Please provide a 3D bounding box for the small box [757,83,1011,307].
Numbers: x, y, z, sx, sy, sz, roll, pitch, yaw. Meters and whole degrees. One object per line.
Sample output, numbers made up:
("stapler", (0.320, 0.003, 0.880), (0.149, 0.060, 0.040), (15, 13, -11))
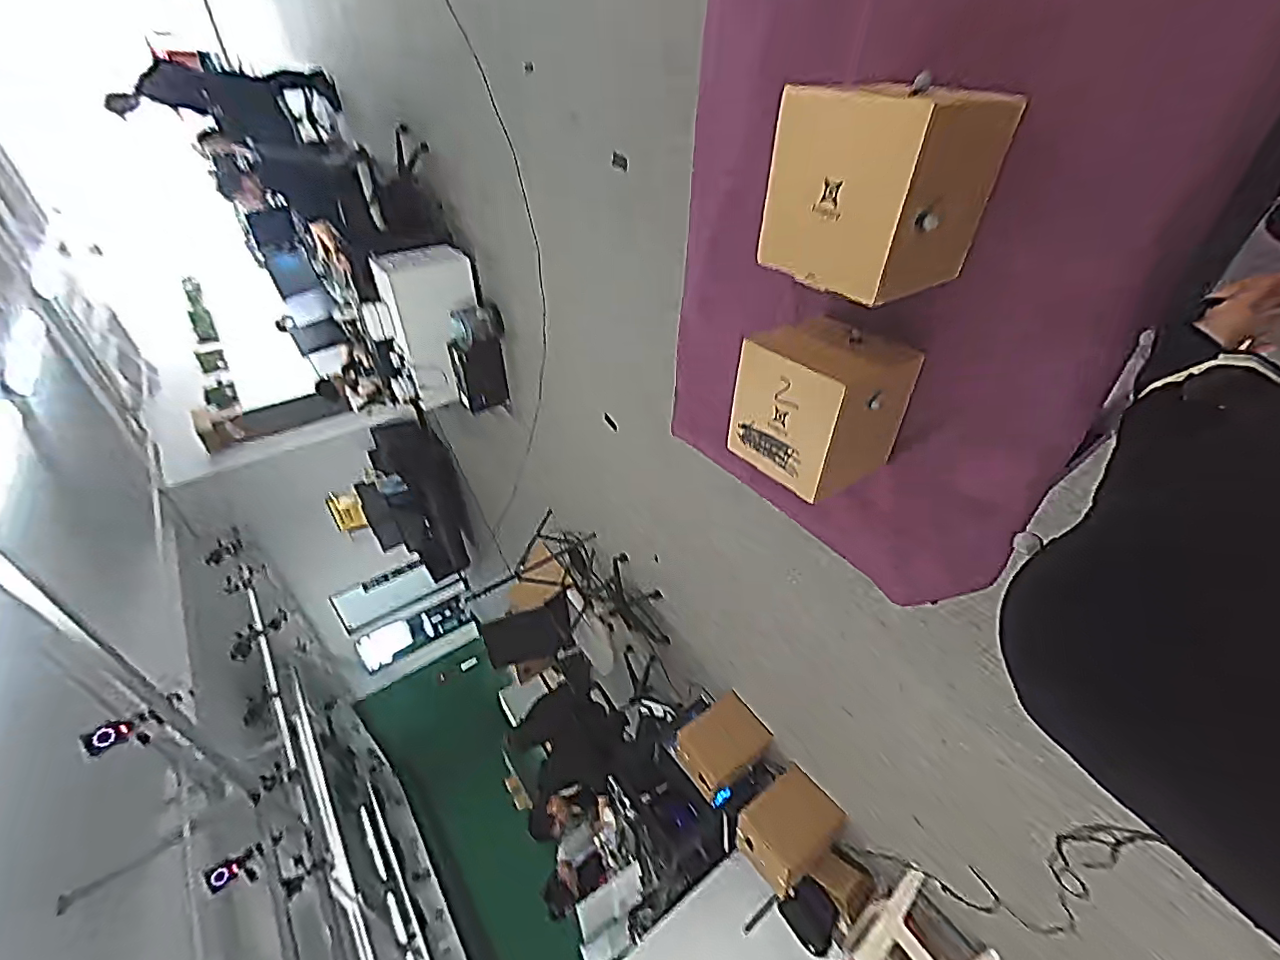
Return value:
("small box", (0.255, -0.314, 0.582), (0.168, 0.176, 0.179), (42, 145, 38))
